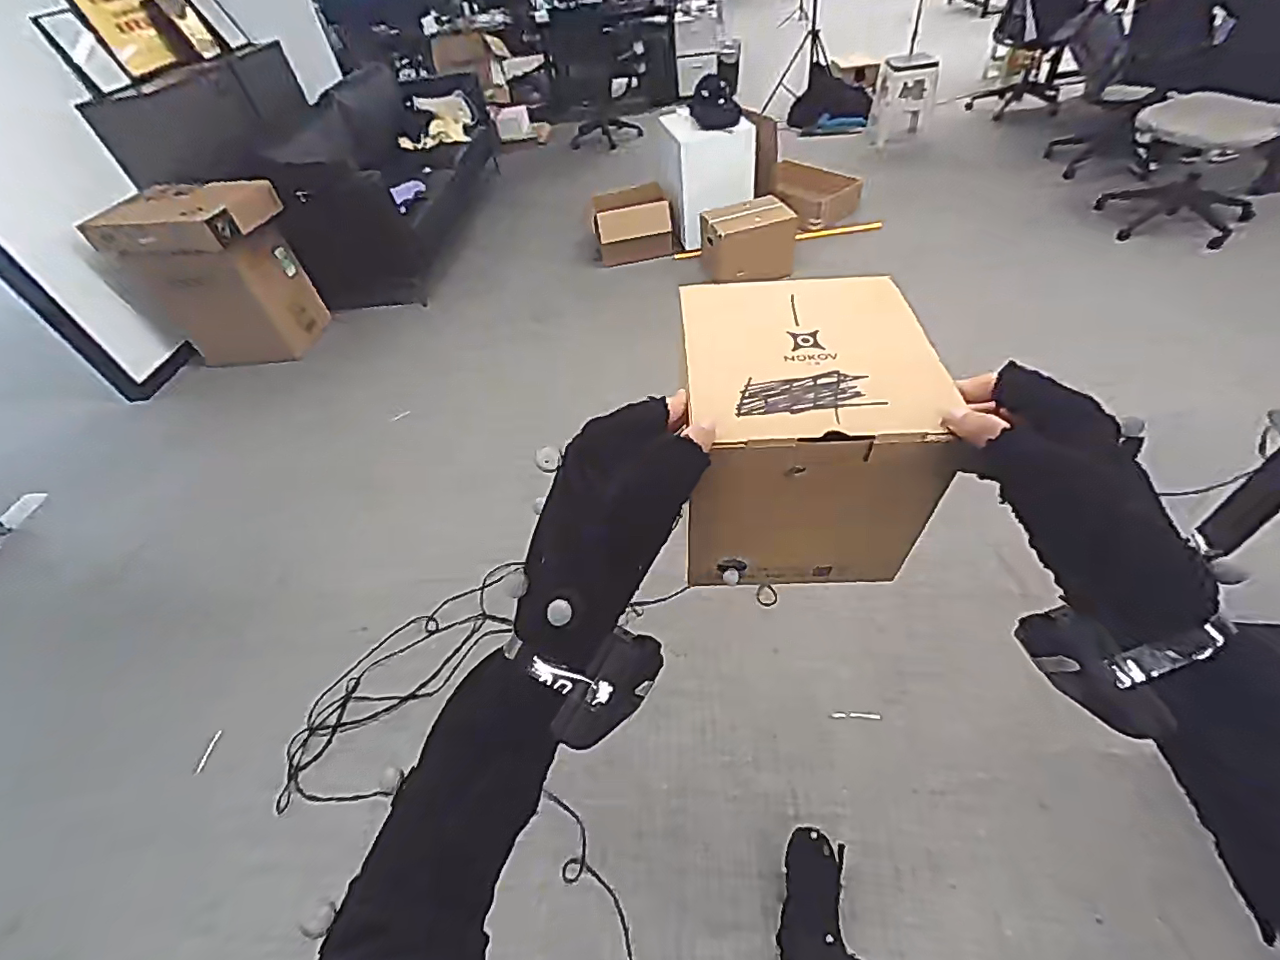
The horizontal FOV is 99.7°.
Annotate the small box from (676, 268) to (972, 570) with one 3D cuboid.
[{"bbox_3d":[0.115,-0.040,0.424,0.168,0.176,0.179,-2,50,2],"label":"small box"}]
